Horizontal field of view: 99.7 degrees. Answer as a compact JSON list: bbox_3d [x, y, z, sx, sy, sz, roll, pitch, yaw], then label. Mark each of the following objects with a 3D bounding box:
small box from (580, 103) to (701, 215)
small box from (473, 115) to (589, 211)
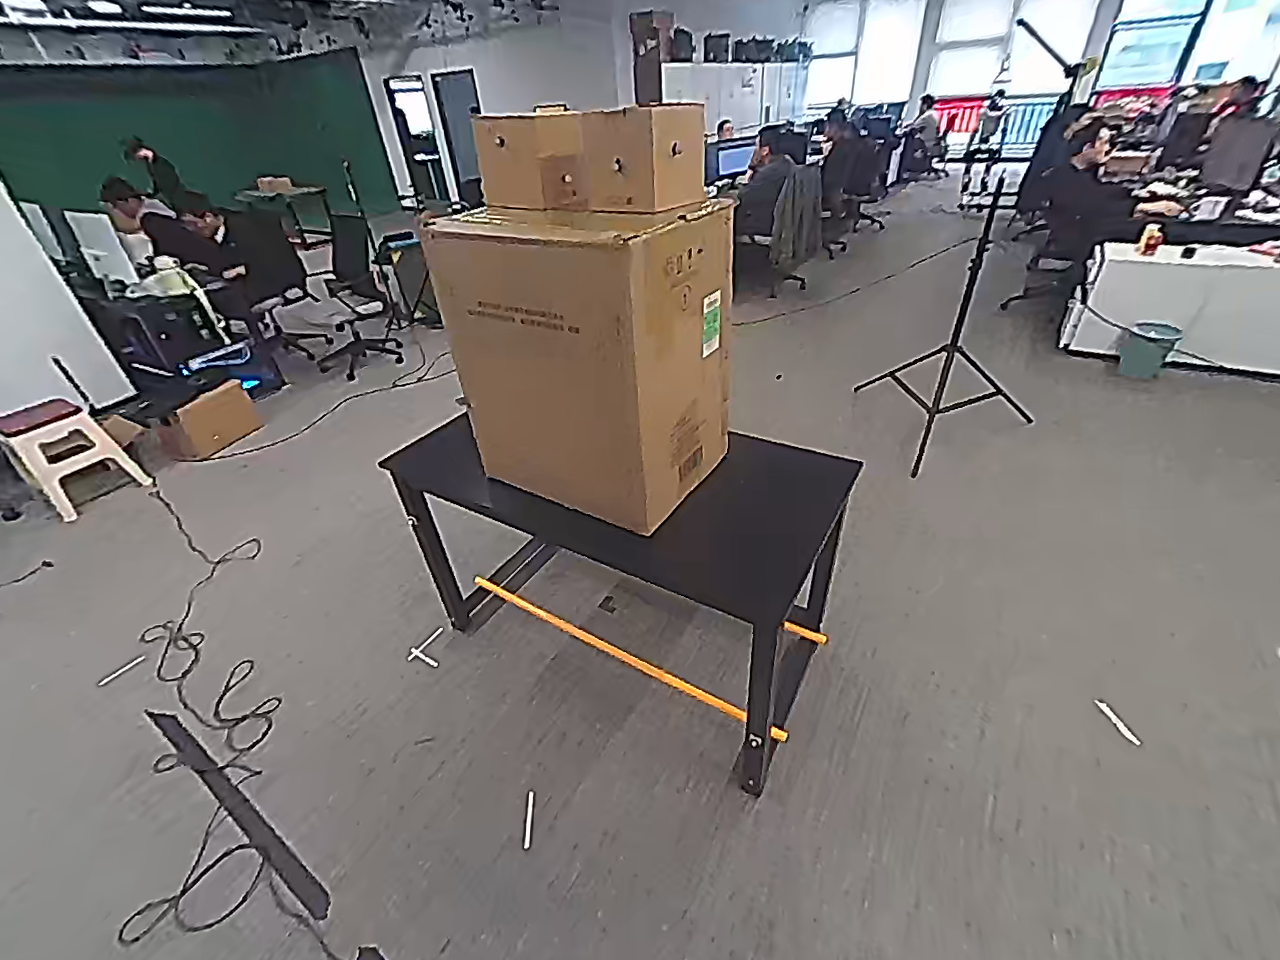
[{"bbox_3d":[0.009,-0.621,1.053,0.168,0.176,0.179,20,41,31],"label":"small box"},{"bbox_3d":[-0.230,-0.692,1.180,0.179,0.176,0.168,19,41,27],"label":"small box"}]
